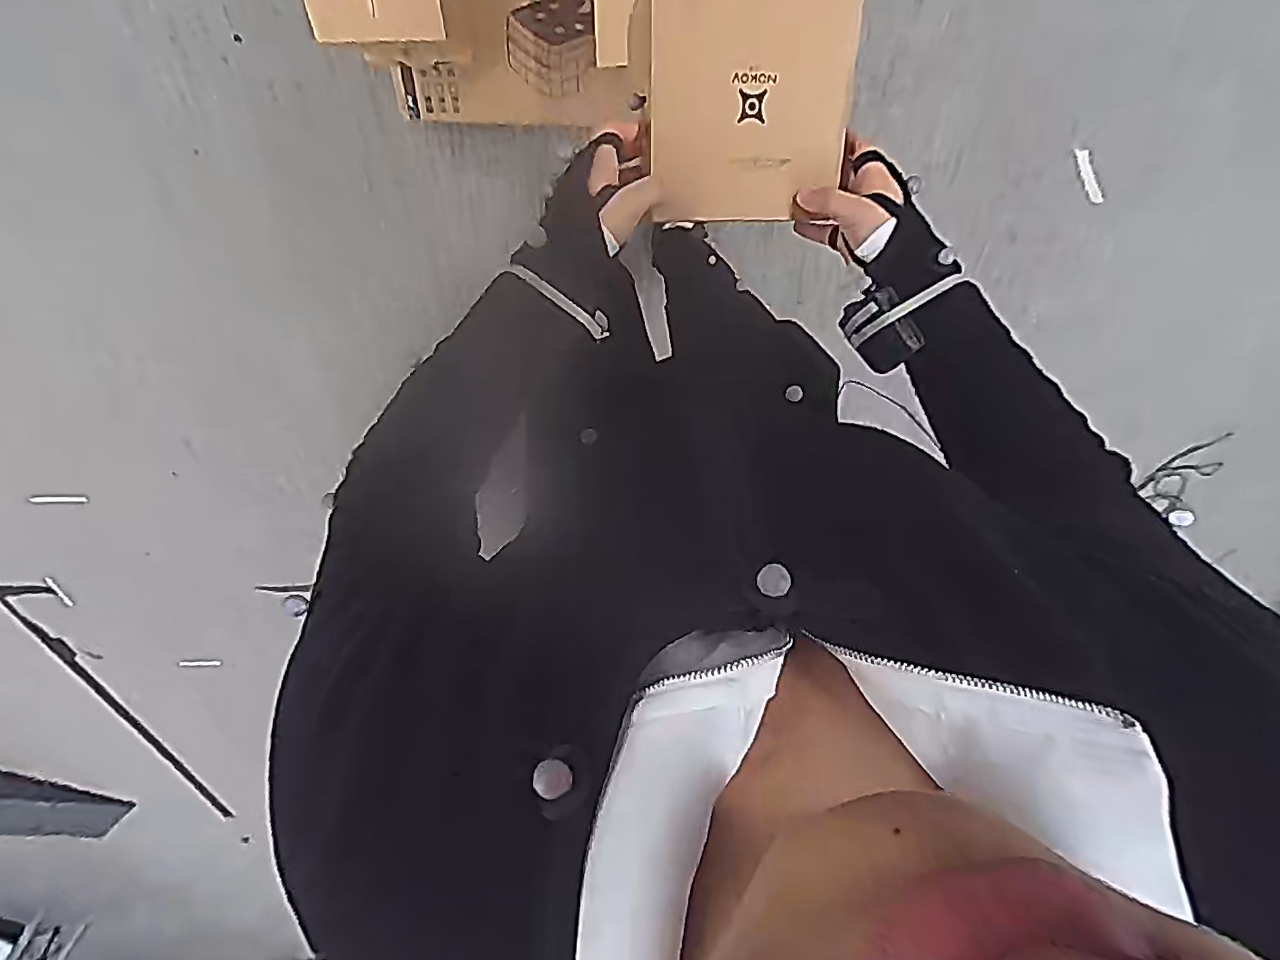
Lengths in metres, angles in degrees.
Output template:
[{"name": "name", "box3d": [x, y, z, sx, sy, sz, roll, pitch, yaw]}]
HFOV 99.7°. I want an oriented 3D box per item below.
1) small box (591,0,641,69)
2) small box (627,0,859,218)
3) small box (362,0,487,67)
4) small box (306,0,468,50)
[{"name": "small box", "box3d": [0.007, -0.769, 0.864, 0.168, 0.176, 0.179, -1, 127, -1]}, {"name": "small box", "box3d": [0.079, -0.344, 0.505, 0.168, 0.176, 0.179, -4, 117, -5]}, {"name": "small box", "box3d": [-0.343, -0.759, 0.842, 0.168, 0.176, 0.179, -2, 126, -4]}, {"name": "small box", "box3d": [-0.333, -0.675, 0.700, 0.168, 0.176, 0.179, -3, 127, -3]}]
